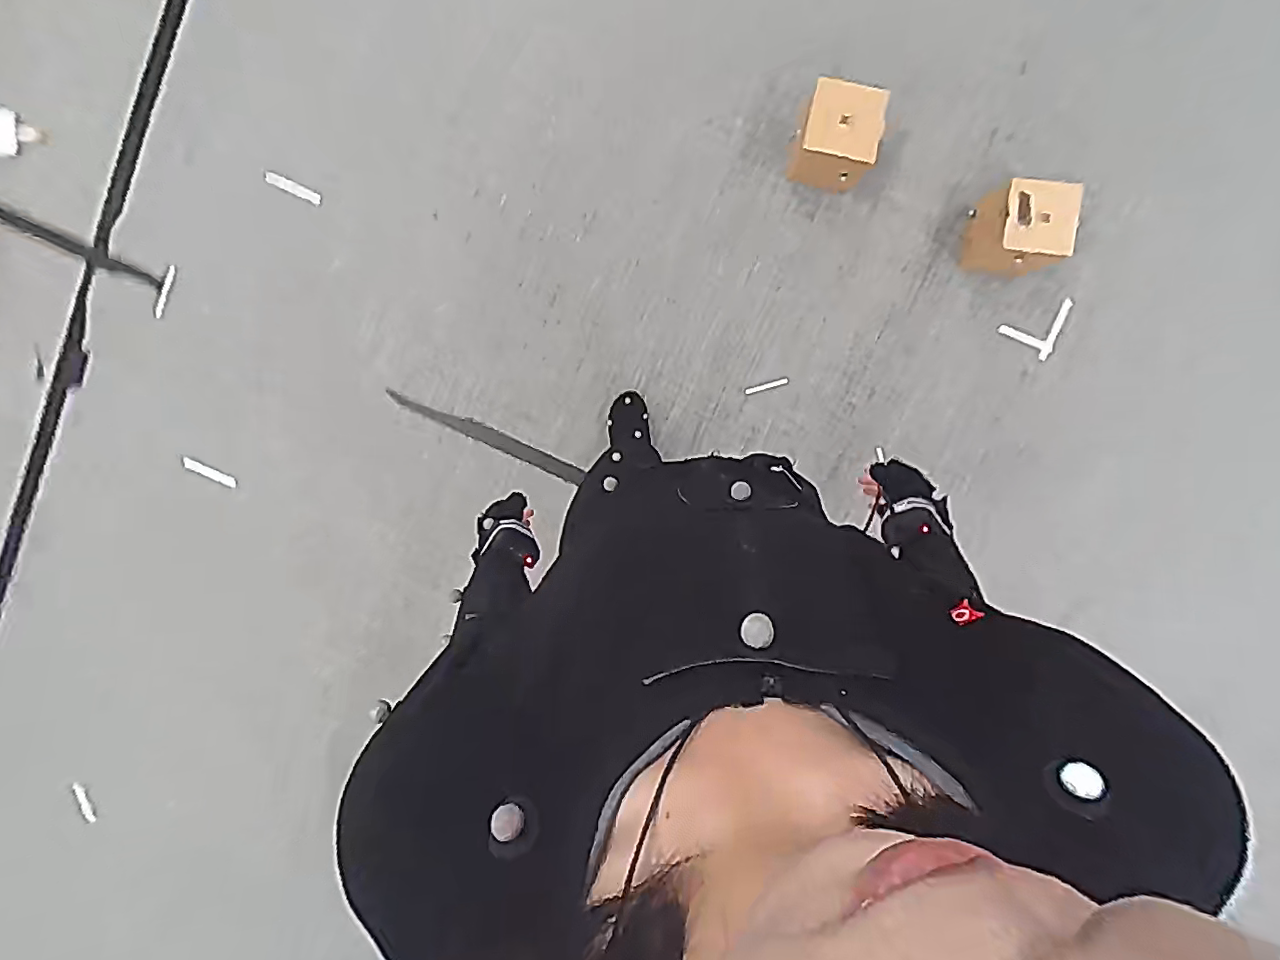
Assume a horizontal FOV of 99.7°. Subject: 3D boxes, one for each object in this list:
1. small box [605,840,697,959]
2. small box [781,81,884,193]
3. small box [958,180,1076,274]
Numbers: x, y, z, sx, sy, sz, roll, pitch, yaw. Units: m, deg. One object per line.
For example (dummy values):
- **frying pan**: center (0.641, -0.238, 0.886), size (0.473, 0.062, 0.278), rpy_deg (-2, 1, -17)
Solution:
- **small box**: center (0.027, 1.063, 1.356), size (0.168, 0.176, 0.179), rpy_deg (26, 96, -4)
- **small box**: center (0.472, -0.843, 1.348), size (0.179, 0.176, 0.168), rpy_deg (10, 95, -1)
- **small box**: center (0.945, -0.633, 1.373), size (0.179, 0.176, 0.168), rpy_deg (5, 96, -1)
